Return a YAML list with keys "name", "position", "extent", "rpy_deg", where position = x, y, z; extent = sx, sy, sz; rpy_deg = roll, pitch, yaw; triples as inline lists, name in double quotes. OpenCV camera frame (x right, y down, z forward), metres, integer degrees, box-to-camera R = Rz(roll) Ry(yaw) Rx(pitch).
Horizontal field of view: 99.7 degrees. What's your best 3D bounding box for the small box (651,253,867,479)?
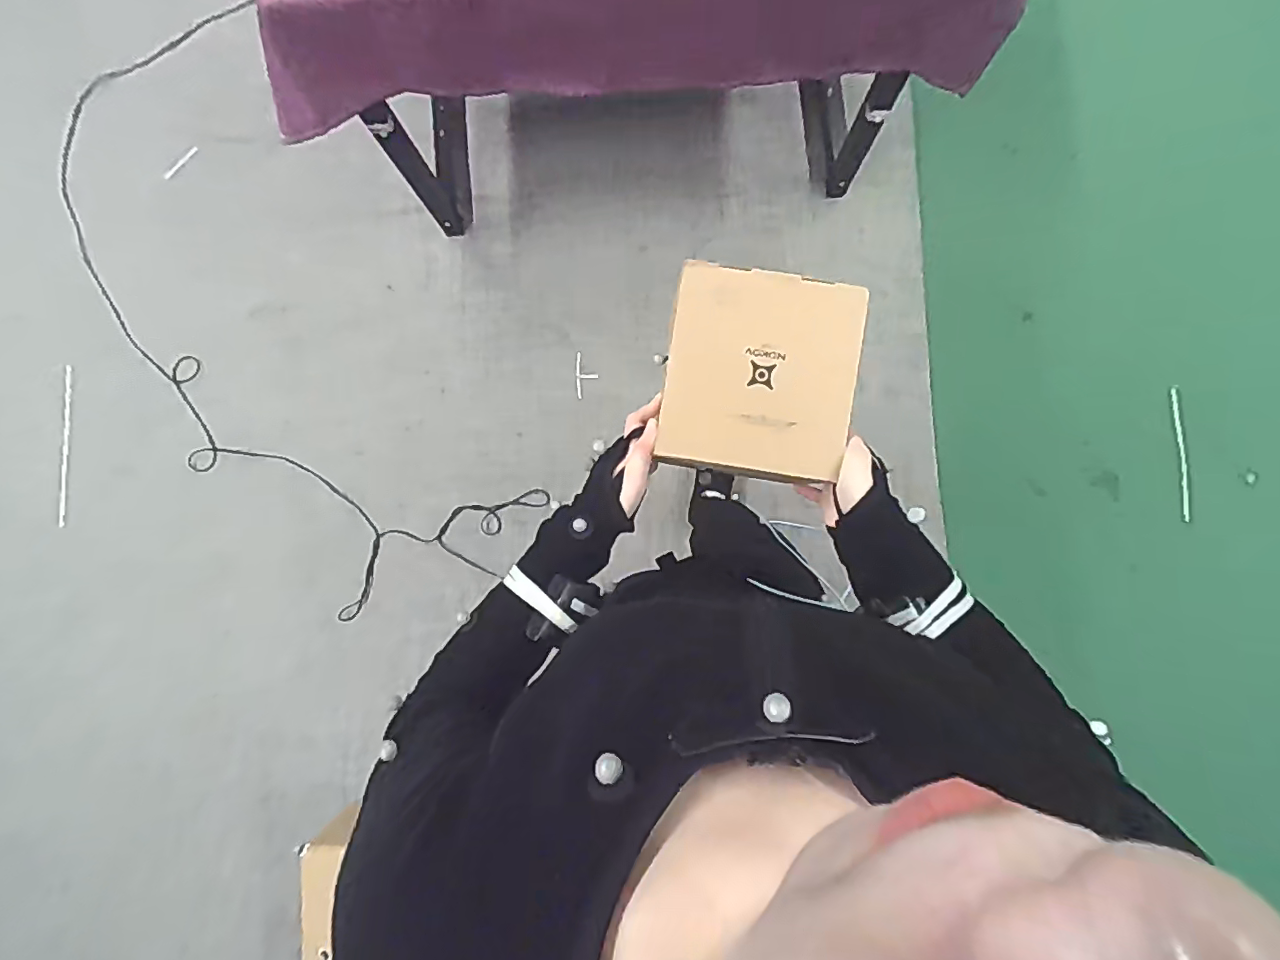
- name: "small box"
  position: [0.105, -0.101, 0.554]
  extent: [0.168, 0.176, 0.179]
  rpy_deg: [10, 90, 0]
